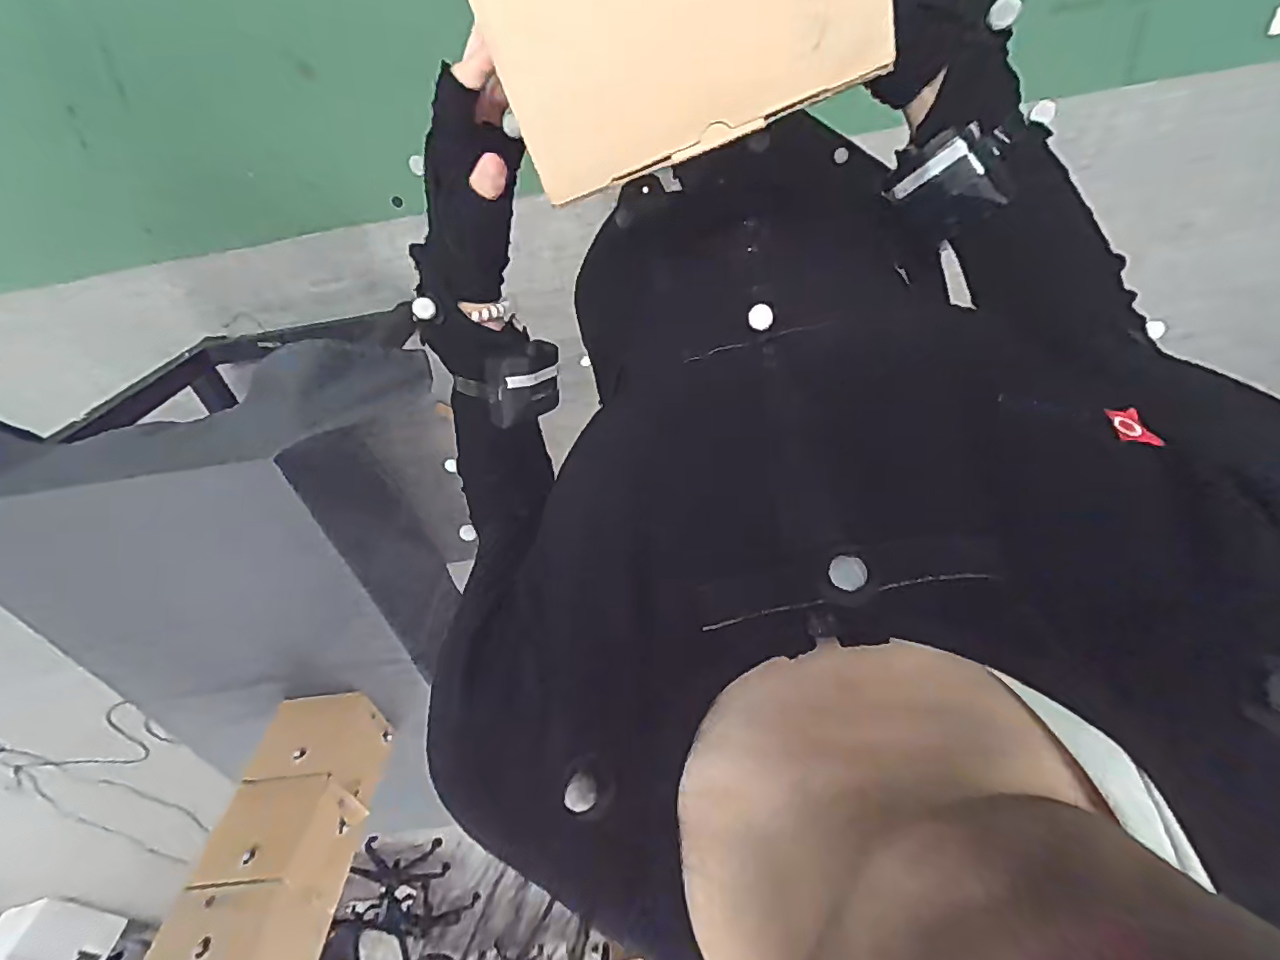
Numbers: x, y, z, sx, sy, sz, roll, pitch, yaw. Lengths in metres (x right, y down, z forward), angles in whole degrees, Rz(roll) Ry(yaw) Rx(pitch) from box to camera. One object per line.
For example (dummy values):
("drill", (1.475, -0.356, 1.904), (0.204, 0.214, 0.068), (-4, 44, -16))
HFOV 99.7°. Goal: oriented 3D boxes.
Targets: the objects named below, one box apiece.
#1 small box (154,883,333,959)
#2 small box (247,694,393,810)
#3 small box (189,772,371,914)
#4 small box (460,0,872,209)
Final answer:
("small box", (-0.612, 0.739, 0.823), (0.168, 0.176, 0.179), (-7, 126, 3))
("small box", (-0.624, 0.551, 1.090), (0.179, 0.176, 0.168), (-8, 126, 5))
("small box", (-0.619, 0.645, 0.958), (0.179, 0.176, 0.168), (-9, 125, 4))
("small box", (-0.003, -0.268, 0.280), (0.168, 0.176, 0.179), (-19, 120, 7))
